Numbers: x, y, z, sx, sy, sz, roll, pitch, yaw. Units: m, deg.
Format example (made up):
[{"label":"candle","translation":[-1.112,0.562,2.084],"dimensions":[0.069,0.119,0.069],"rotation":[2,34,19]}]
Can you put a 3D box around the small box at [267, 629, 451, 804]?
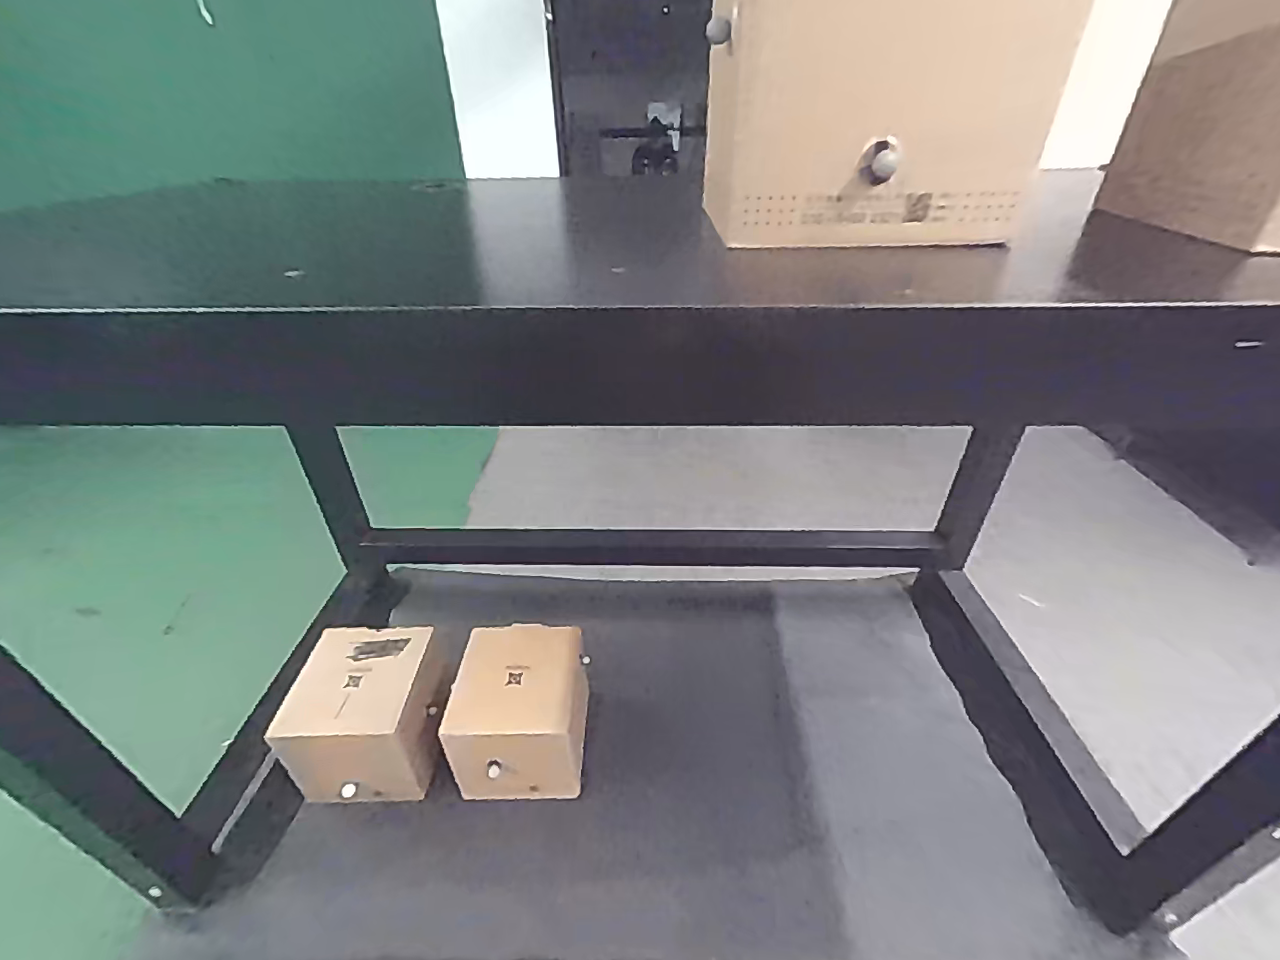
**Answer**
[{"label":"small box","translation":[-0.389,0.341,0.790],"dimensions":[0.168,0.176,0.179],"rotation":[-2,34,0]}]
